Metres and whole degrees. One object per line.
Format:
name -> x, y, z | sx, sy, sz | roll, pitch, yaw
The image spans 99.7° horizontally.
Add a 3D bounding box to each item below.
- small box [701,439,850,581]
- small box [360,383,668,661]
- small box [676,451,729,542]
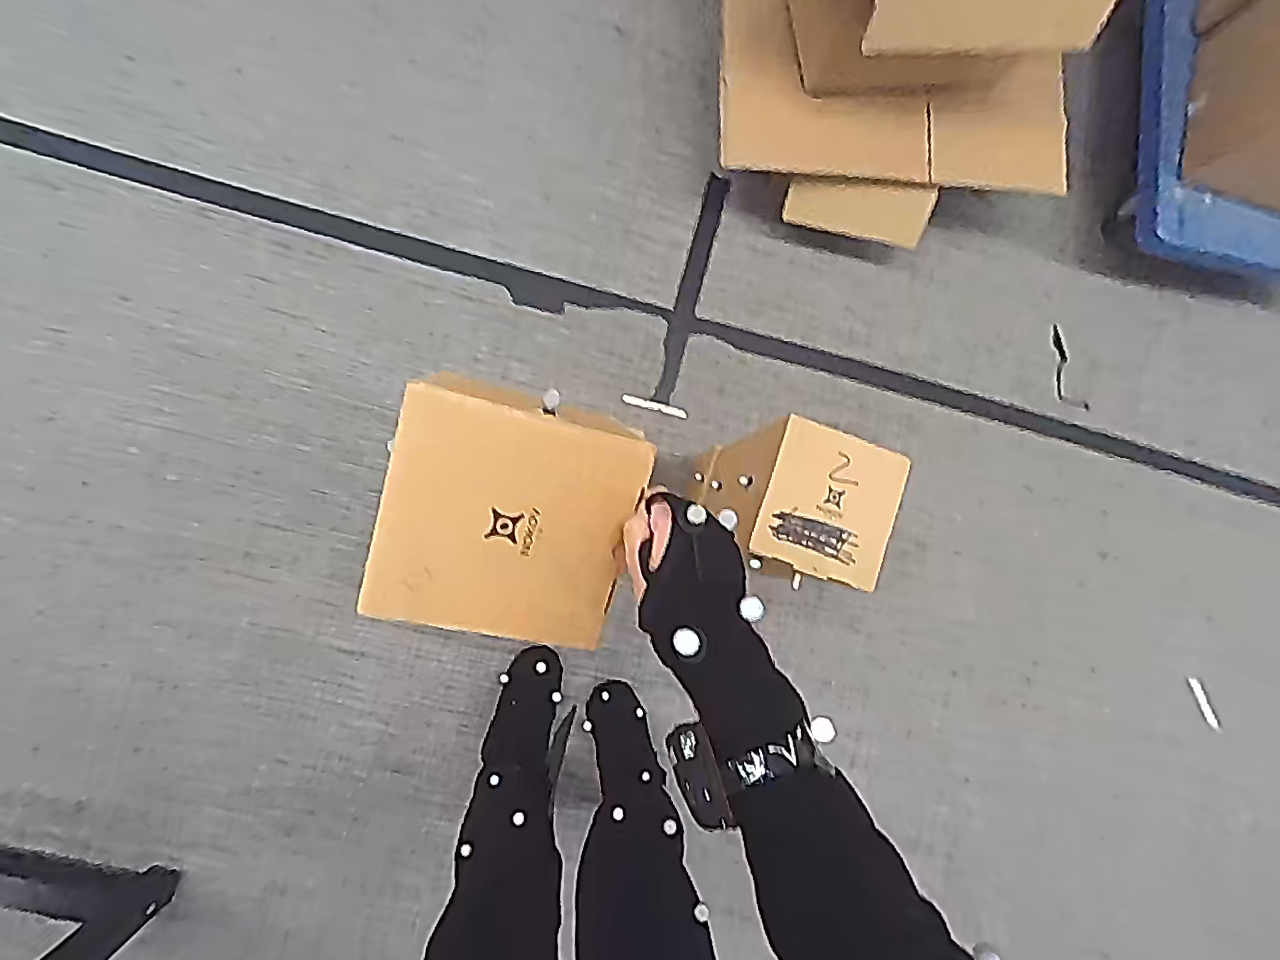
small box -> 0.210, 0.050, 0.889 | 0.168, 0.176, 0.179 | 19, 83, -6
small box -> -0.101, 0.023, 0.445 | 0.179, 0.176, 0.168 | 14, 98, -17
small box -> 0.189, 0.054, 1.053 | 0.179, 0.176, 0.168 | 20, 84, -6
